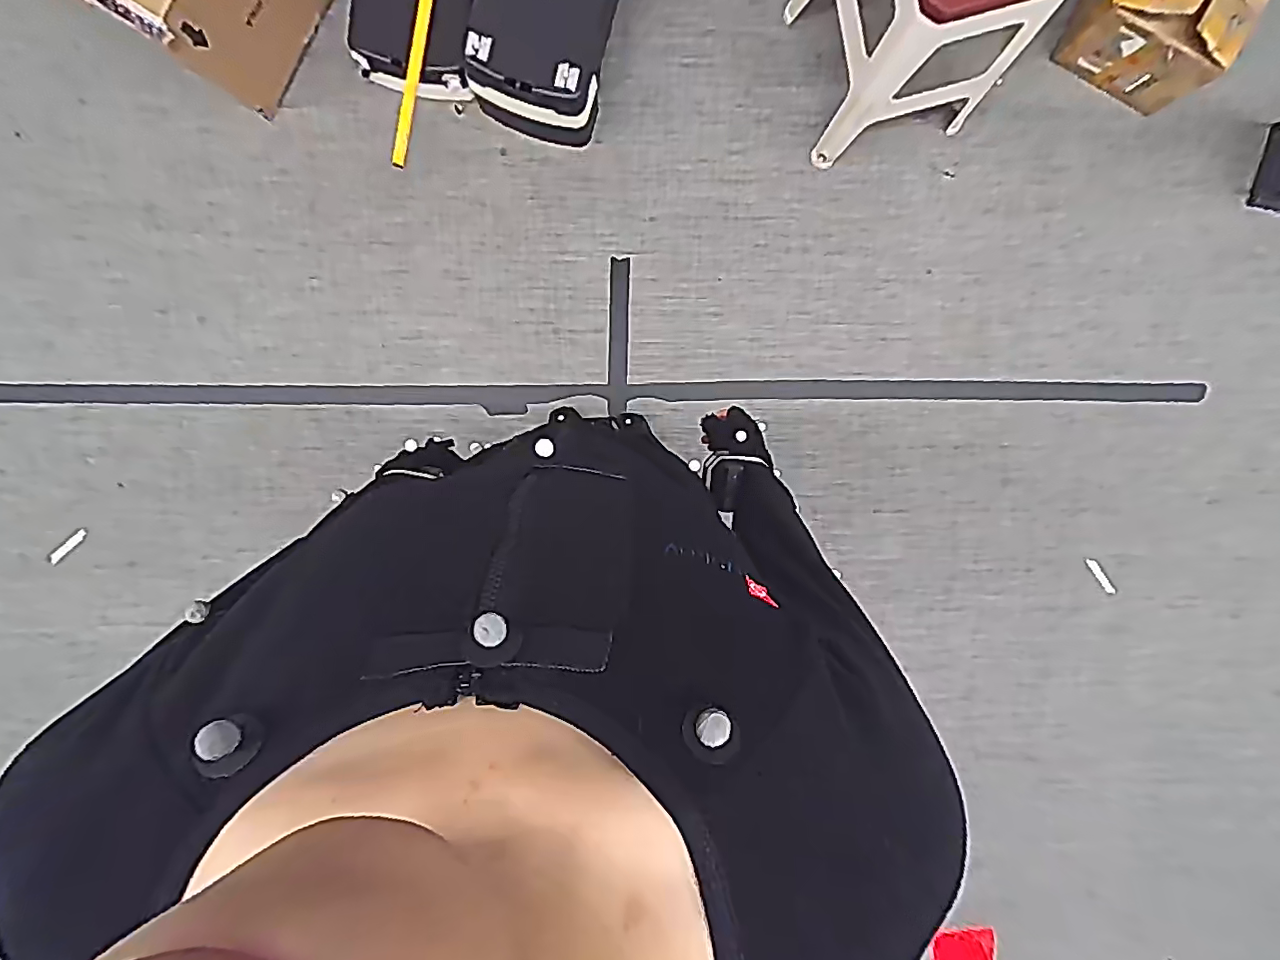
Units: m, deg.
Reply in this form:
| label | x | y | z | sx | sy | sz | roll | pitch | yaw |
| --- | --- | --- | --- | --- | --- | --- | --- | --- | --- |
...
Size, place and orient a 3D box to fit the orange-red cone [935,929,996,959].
| label | x | y | z | sx | sy | sz | roll | pitch | yaw |
| --- | --- | --- | --- | --- | --- | --- | --- | --- | --- |
| orange-red cone | 1.038 | 1.541 | 1.550 | 0.198 | 0.360 | 0.199 | -4 | 98 | -1 |
